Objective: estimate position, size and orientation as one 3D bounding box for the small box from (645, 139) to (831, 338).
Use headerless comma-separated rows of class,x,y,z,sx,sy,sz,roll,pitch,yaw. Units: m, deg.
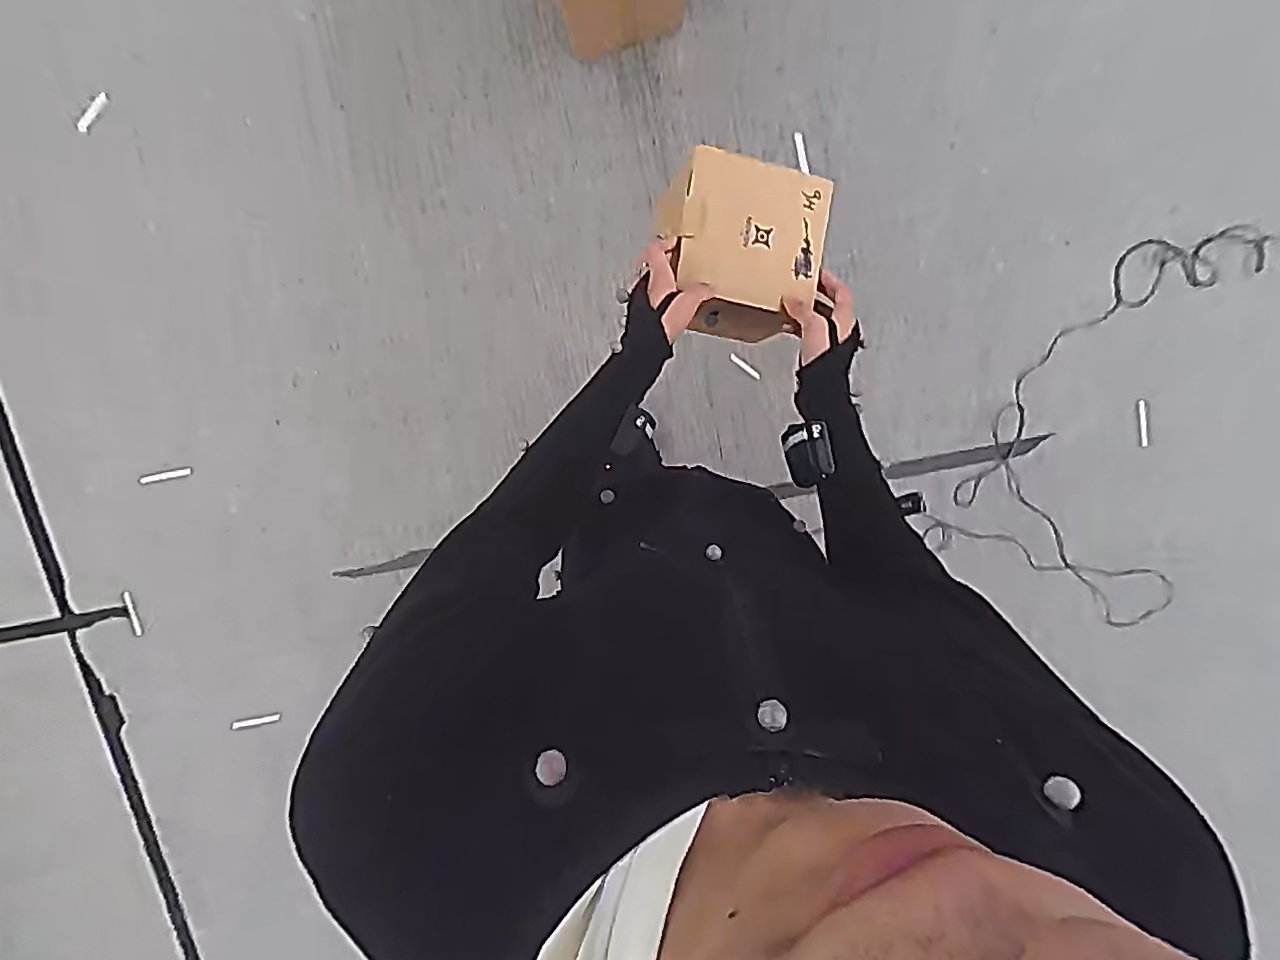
small box,0.113,-0.292,0.697,0.179,0.176,0.168,9,92,-11
